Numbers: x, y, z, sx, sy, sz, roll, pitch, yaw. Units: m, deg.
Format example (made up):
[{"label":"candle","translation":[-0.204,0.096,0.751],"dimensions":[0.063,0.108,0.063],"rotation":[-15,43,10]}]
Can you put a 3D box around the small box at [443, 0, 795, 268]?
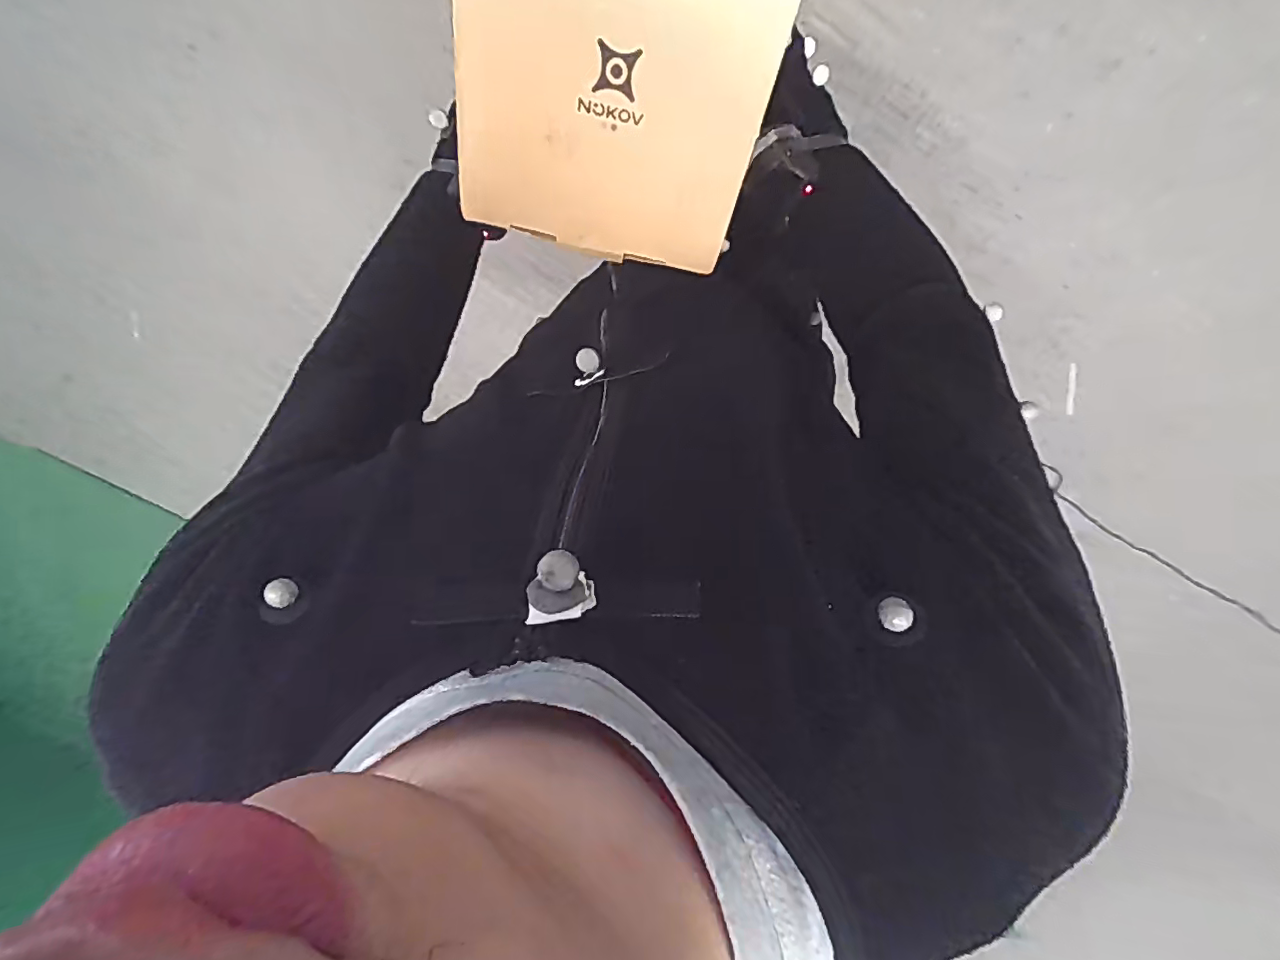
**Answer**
[{"label":"small box","translation":[-0.012,-0.265,0.330],"dimensions":[0.168,0.176,0.179],"rotation":[10,138,-6]}]
